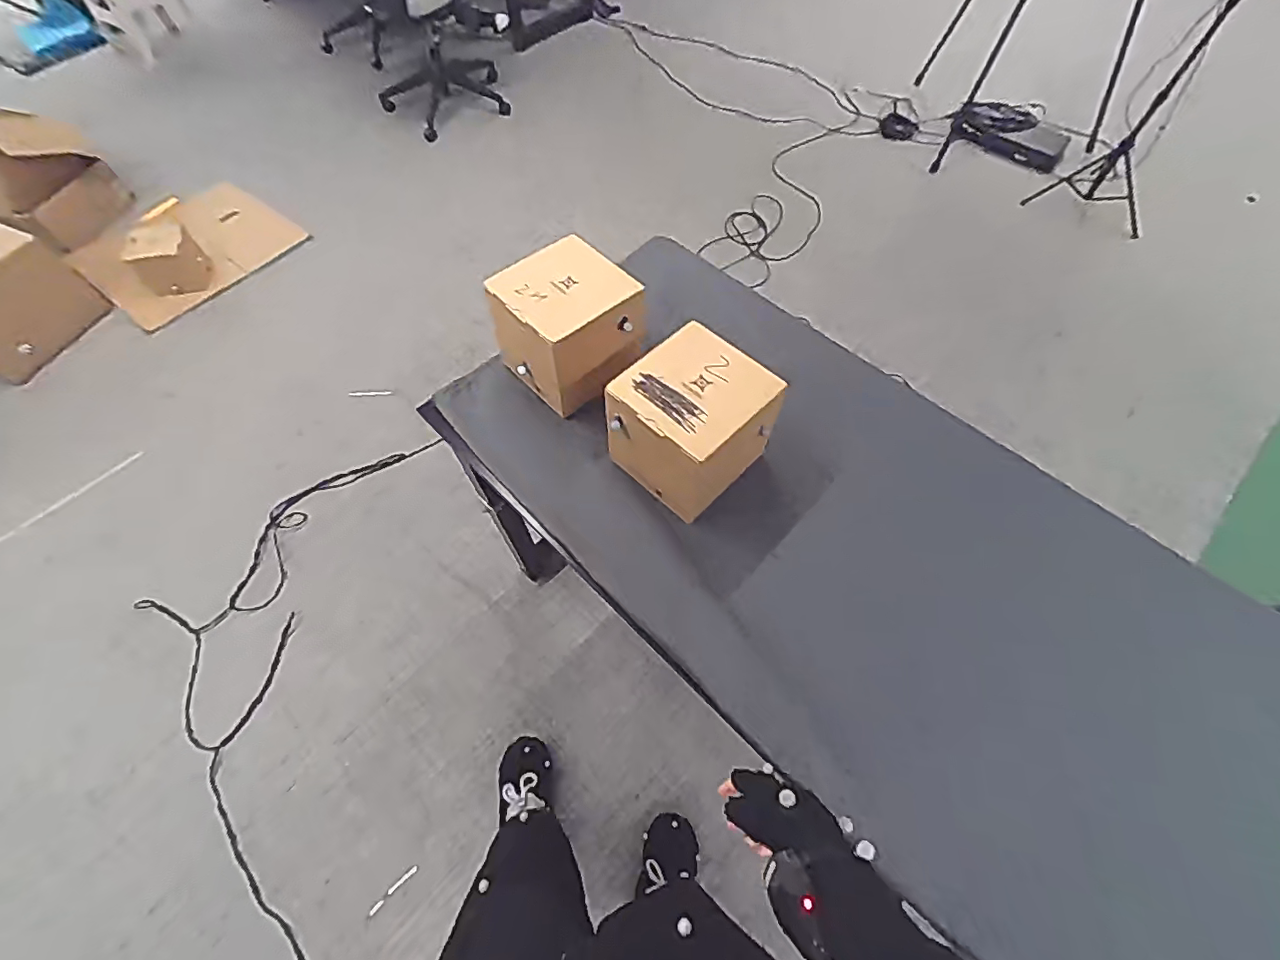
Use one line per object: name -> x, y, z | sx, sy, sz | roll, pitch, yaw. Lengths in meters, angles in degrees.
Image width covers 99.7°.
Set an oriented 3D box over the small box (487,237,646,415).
small box -> -0.111, -0.240, 0.855 | 0.179, 0.176, 0.168 | -38, 67, -21
